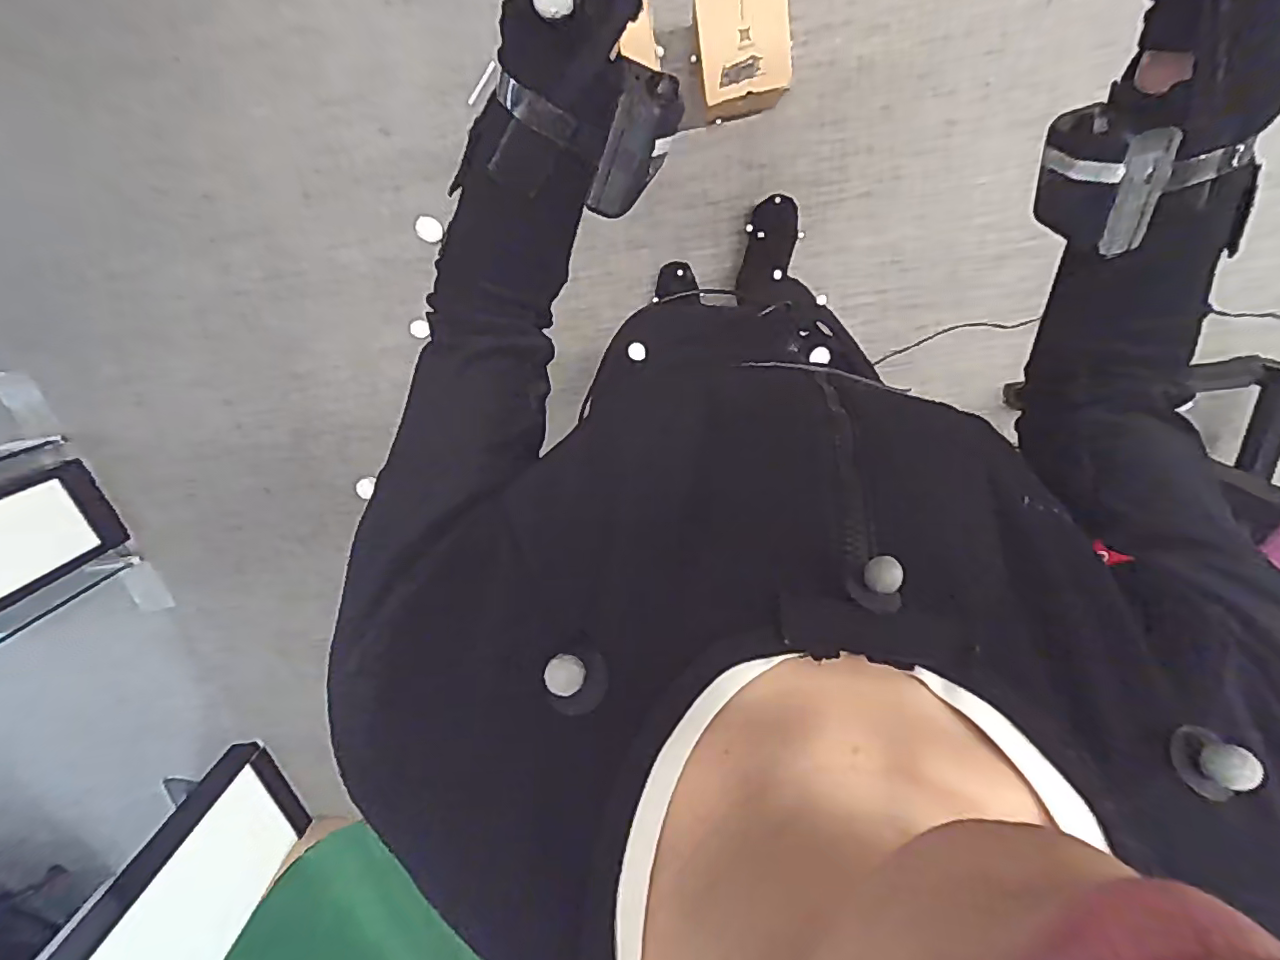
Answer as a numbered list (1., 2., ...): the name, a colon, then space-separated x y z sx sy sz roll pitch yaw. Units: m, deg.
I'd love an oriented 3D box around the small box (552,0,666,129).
1. small box: -0.048 -0.751 0.953 0.168 0.176 0.179 -7 112 8
